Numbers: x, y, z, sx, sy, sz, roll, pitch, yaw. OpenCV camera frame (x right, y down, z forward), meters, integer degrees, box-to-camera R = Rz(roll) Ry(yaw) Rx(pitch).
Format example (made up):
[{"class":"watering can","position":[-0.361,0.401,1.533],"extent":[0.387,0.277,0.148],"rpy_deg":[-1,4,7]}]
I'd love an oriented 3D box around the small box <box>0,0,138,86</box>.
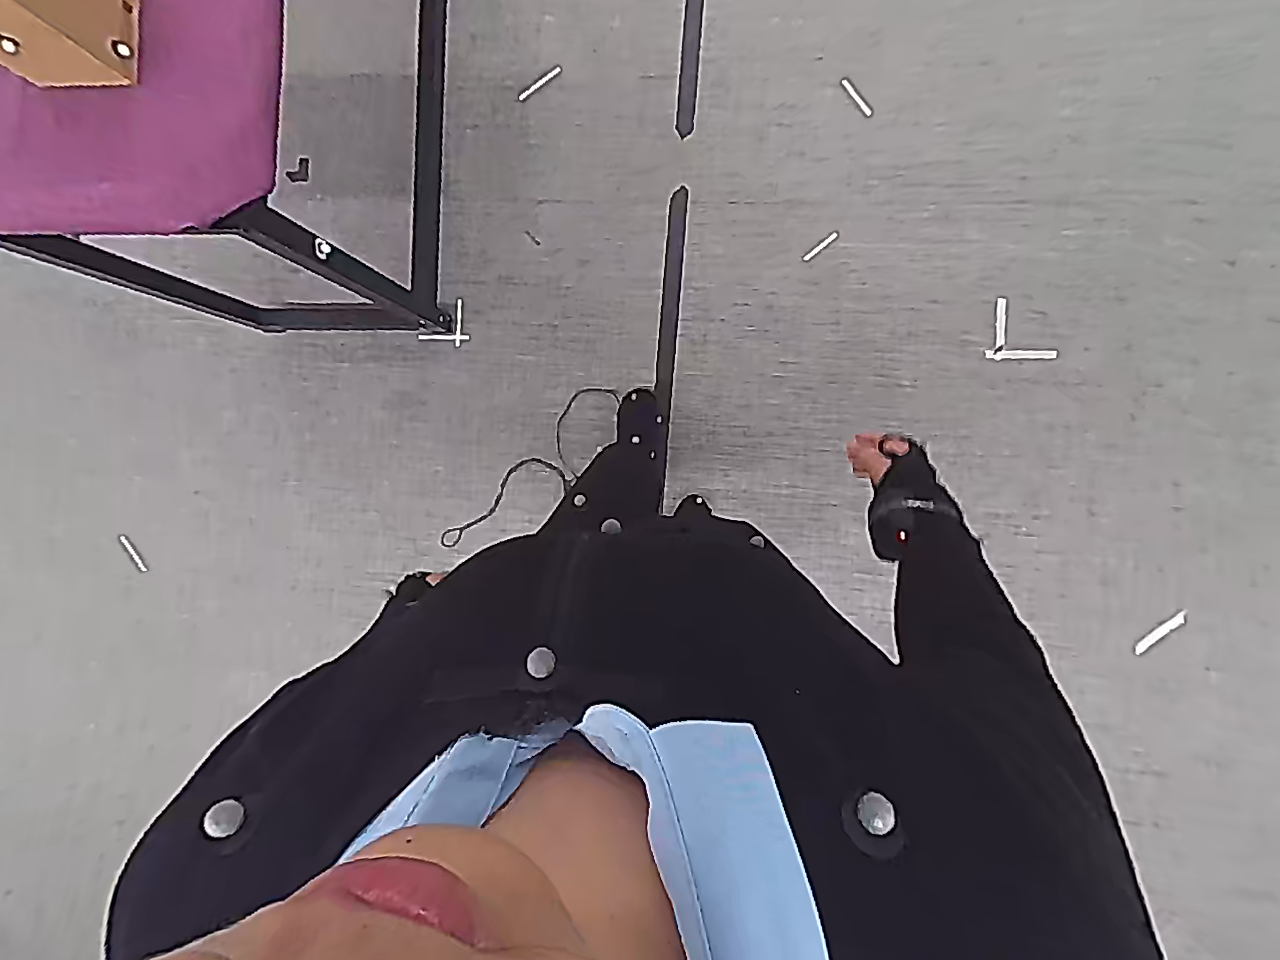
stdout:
[{"class":"small box","position":[-0.865,-0.693,0.762],"extent":[0.179,0.176,0.168],"rpy_deg":[3,91,6]}]
